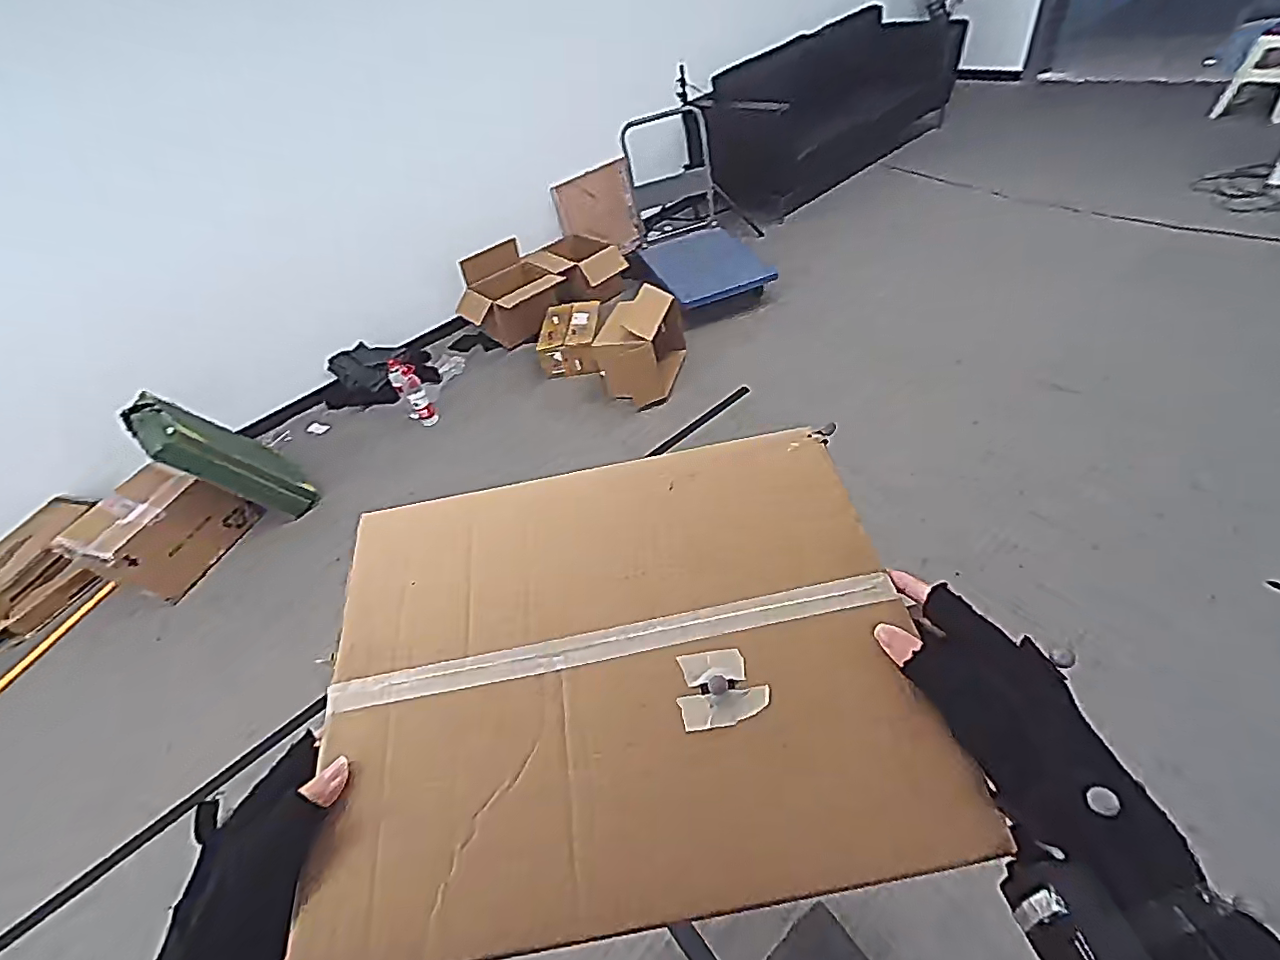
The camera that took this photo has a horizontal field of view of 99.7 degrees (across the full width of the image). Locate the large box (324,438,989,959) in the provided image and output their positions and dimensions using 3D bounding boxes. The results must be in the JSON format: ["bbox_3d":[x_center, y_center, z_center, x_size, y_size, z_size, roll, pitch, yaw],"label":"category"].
[{"bbox_3d":[0.002,0.207,0.517,0.408,0.320,0.320,-11,55,0],"label":"large box"}]
